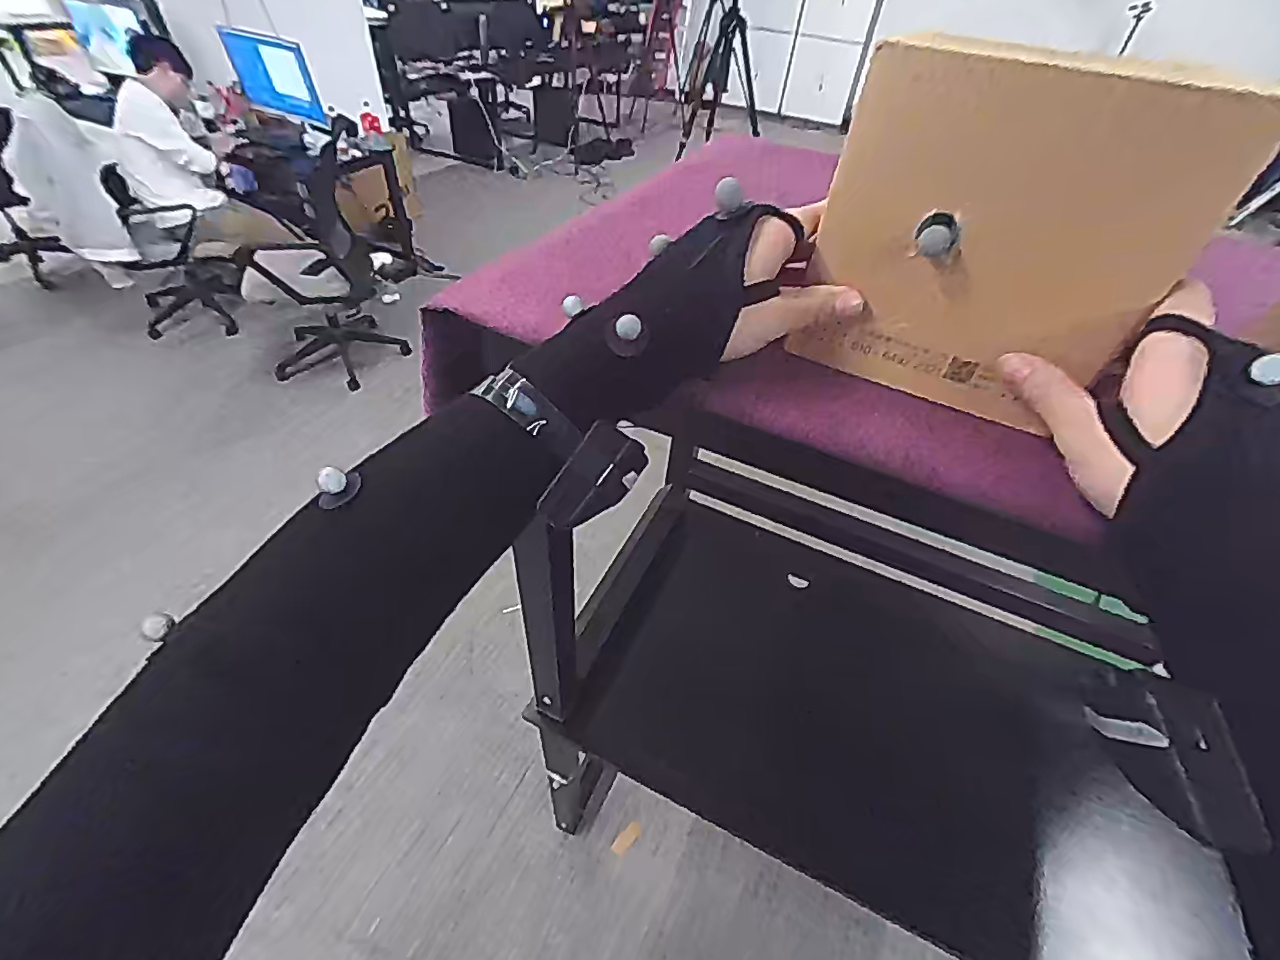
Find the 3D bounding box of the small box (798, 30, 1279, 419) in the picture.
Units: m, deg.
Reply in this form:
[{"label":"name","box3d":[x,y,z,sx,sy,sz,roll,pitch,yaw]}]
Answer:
[{"label":"small box","box3d":[0.214,-0.164,0.340,0.168,0.176,0.179,23,45,18]}]
